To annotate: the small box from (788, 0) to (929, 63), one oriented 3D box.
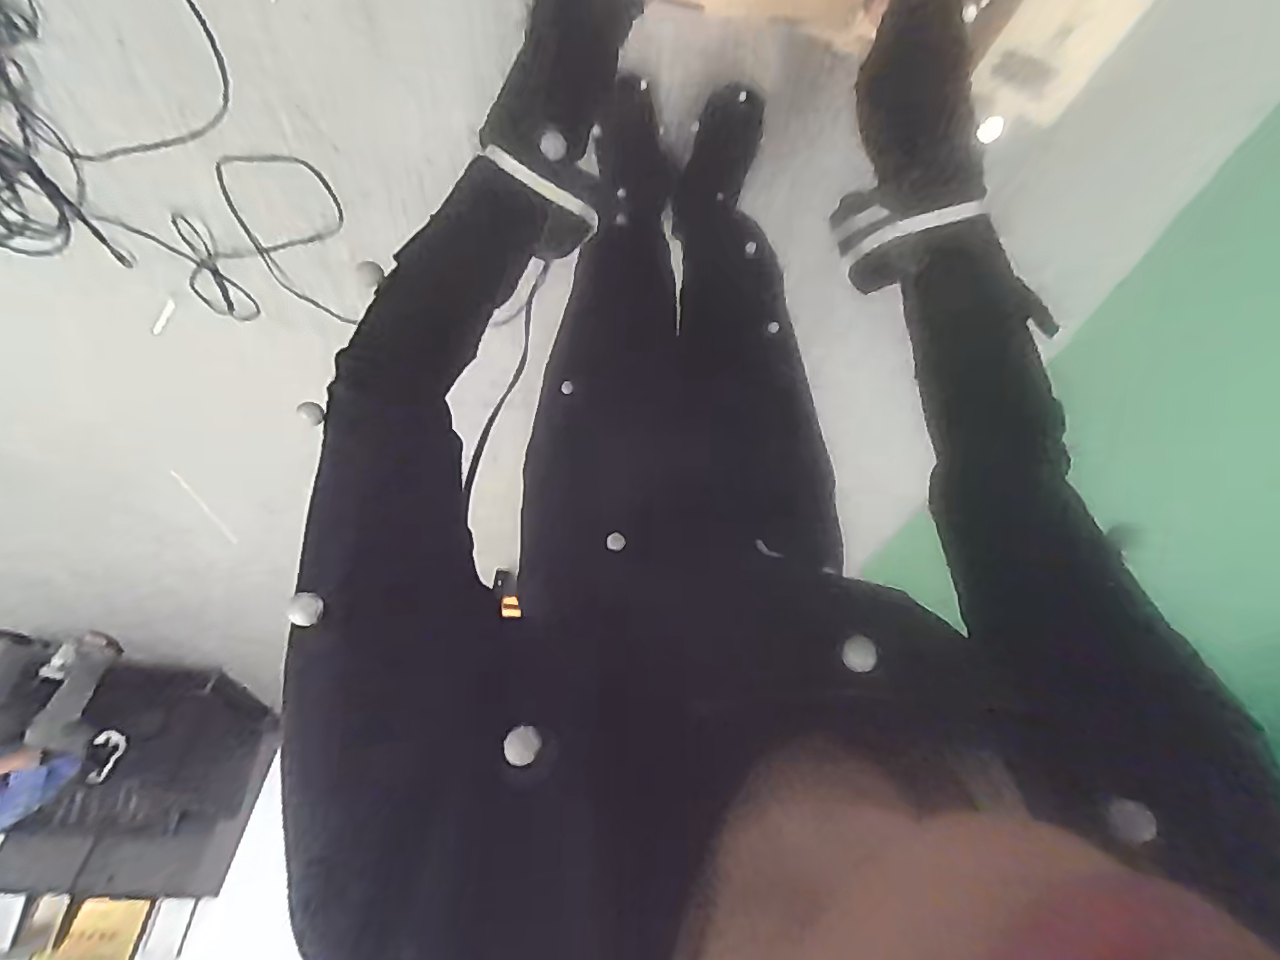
[{"bbox_3d":[0.313,-0.725,0.744,0.168,0.176,0.179,12,140,-10],"label":"small box"}]
